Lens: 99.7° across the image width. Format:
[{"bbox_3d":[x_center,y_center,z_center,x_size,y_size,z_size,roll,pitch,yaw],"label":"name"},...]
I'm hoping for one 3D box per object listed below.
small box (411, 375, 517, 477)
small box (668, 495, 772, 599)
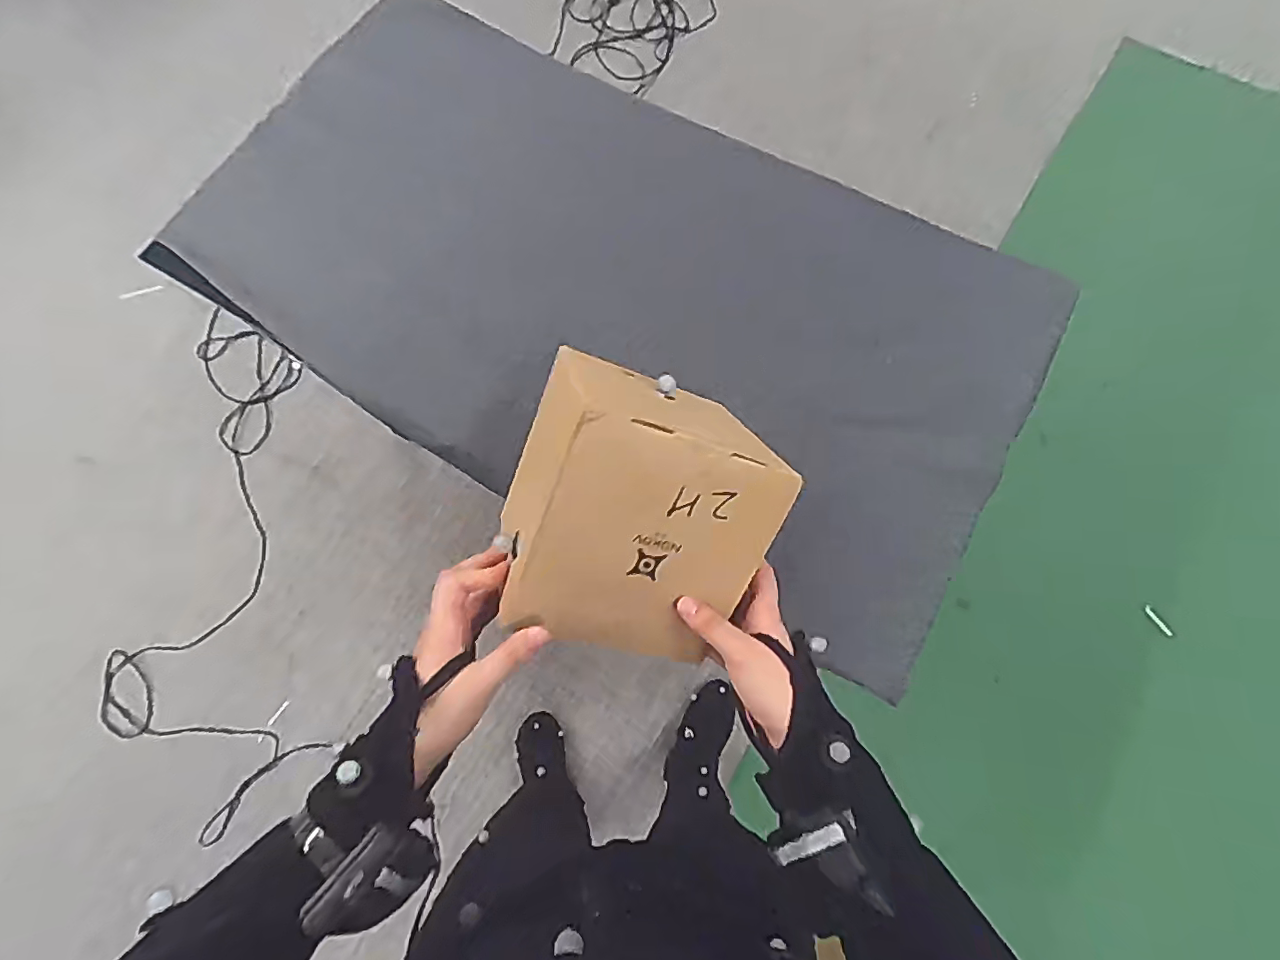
[{"bbox_3d":[-0.446,-0.133,1.407,0.168,0.176,0.179,34,78,12],"label":"small box"},{"bbox_3d":[0.181,0.168,1.282,0.179,0.176,0.168,43,81,12],"label":"small box"}]
